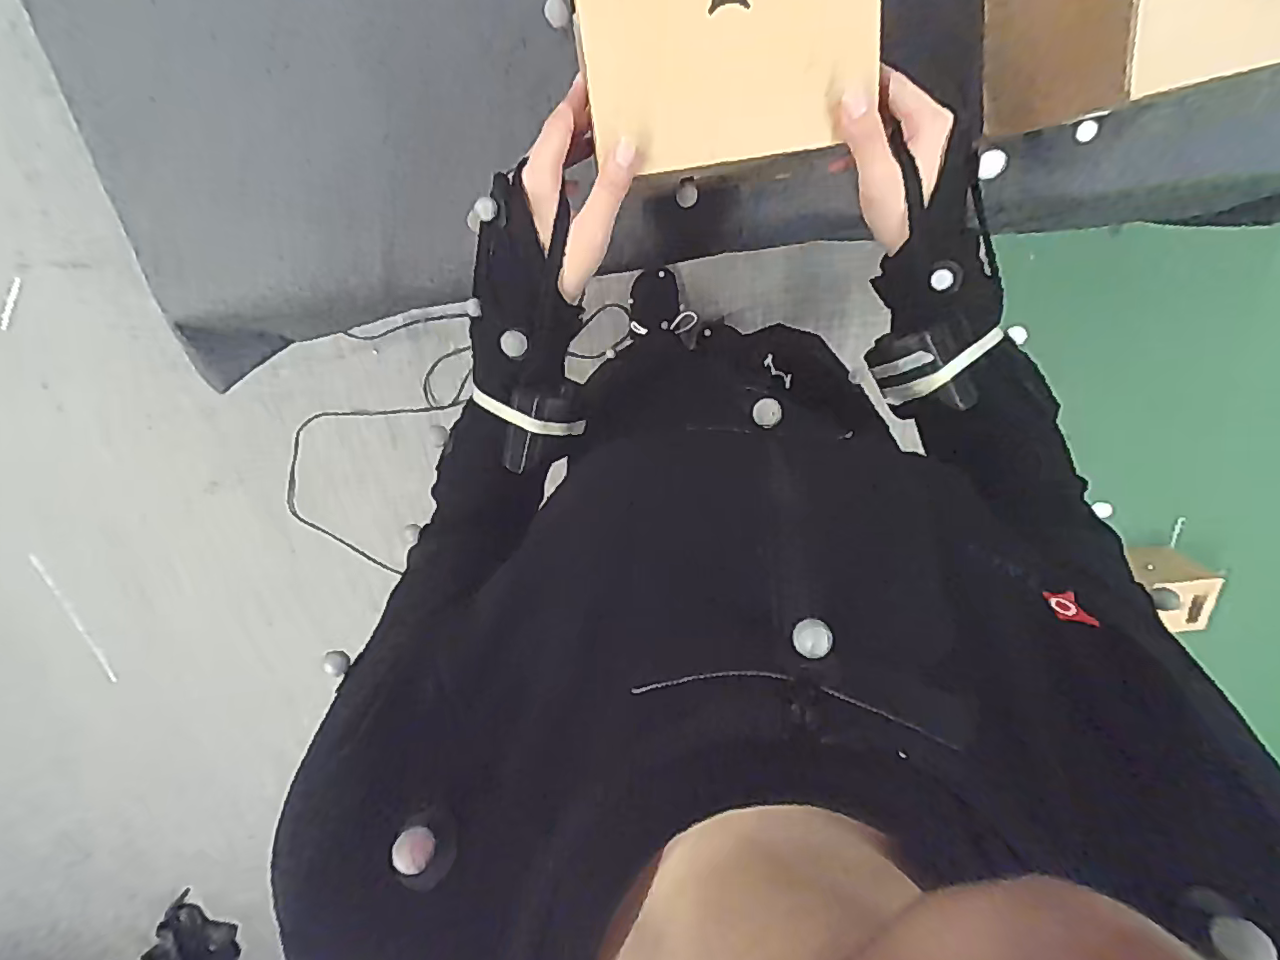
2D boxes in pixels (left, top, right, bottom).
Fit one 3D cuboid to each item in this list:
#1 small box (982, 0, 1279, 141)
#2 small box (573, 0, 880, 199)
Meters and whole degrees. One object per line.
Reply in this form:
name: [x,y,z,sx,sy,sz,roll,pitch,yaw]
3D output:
small box: [0.376,-0.375,0.389,0.168,0.176,0.179,-12,113,5]
small box: [0.042,-0.294,0.357,0.168,0.176,0.179,-9,112,0]
